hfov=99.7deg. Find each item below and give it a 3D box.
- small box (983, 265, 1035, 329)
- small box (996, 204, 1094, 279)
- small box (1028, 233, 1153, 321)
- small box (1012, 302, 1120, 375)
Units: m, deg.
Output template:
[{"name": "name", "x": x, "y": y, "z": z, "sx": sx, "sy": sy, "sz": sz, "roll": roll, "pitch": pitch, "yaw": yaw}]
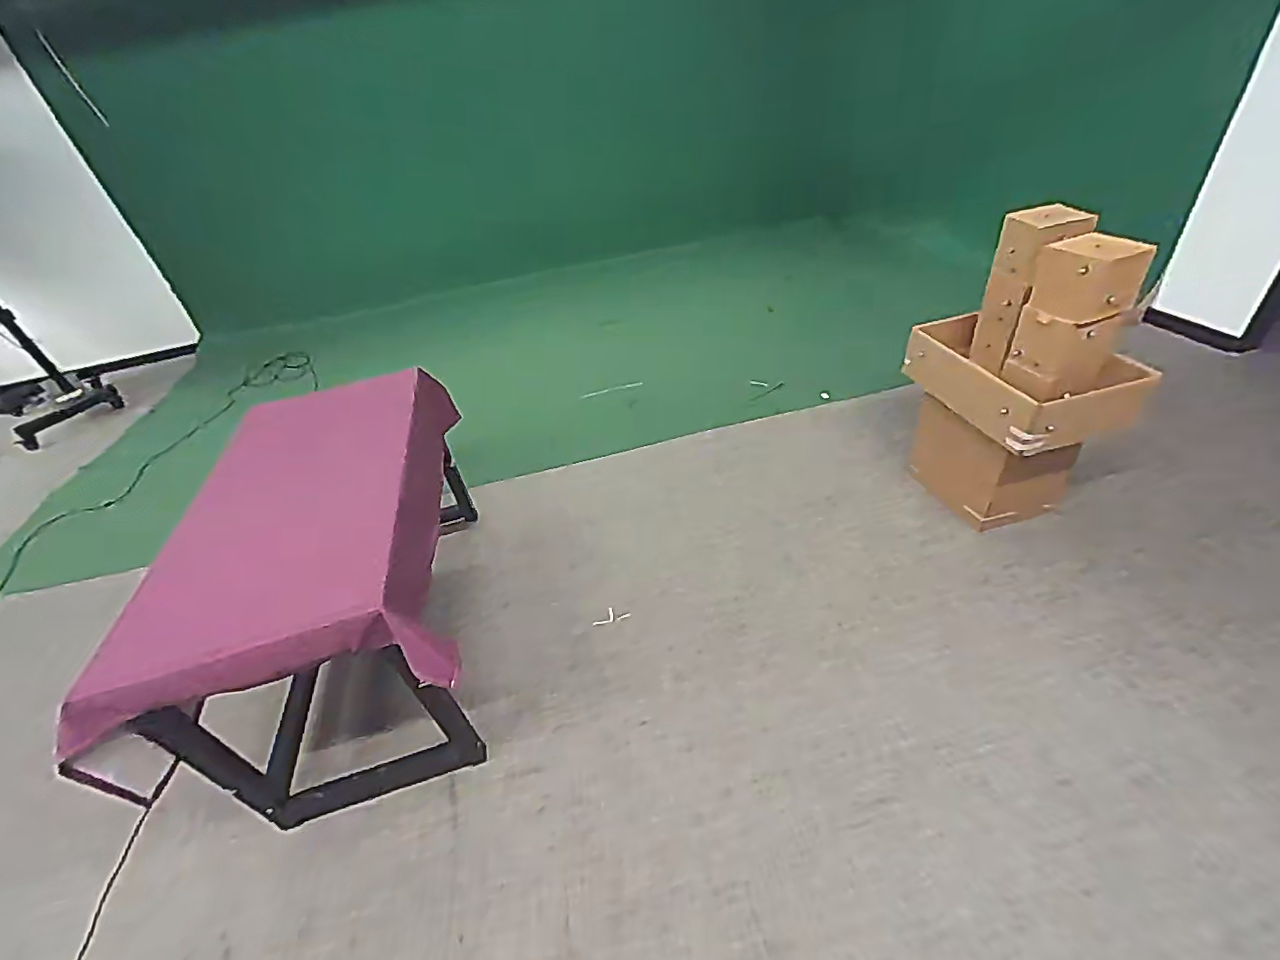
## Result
[{"name": "small box", "x": 1.281, "y": -0.619, "z": 1.804, "sx": 0.179, "sy": 0.176, "sz": 0.168, "roll": -12, "pitch": 40, "yaw": -3}, {"name": "small box", "x": 1.262, "y": -0.750, "z": 1.706, "sx": 0.179, "sy": 0.176, "sz": 0.168, "roll": -11, "pitch": 40, "yaw": -1}, {"name": "small box", "x": 1.209, "y": -0.551, "z": 1.469, "sx": 0.168, "sy": 0.176, "sz": 0.179, "roll": -17, "pitch": 40, "yaw": -9}, {"name": "small box", "x": 1.223, "y": -0.423, "z": 1.568, "sx": 0.179, "sy": 0.176, "sz": 0.168, "roll": -15, "pitch": 39, "yaw": -6}]
